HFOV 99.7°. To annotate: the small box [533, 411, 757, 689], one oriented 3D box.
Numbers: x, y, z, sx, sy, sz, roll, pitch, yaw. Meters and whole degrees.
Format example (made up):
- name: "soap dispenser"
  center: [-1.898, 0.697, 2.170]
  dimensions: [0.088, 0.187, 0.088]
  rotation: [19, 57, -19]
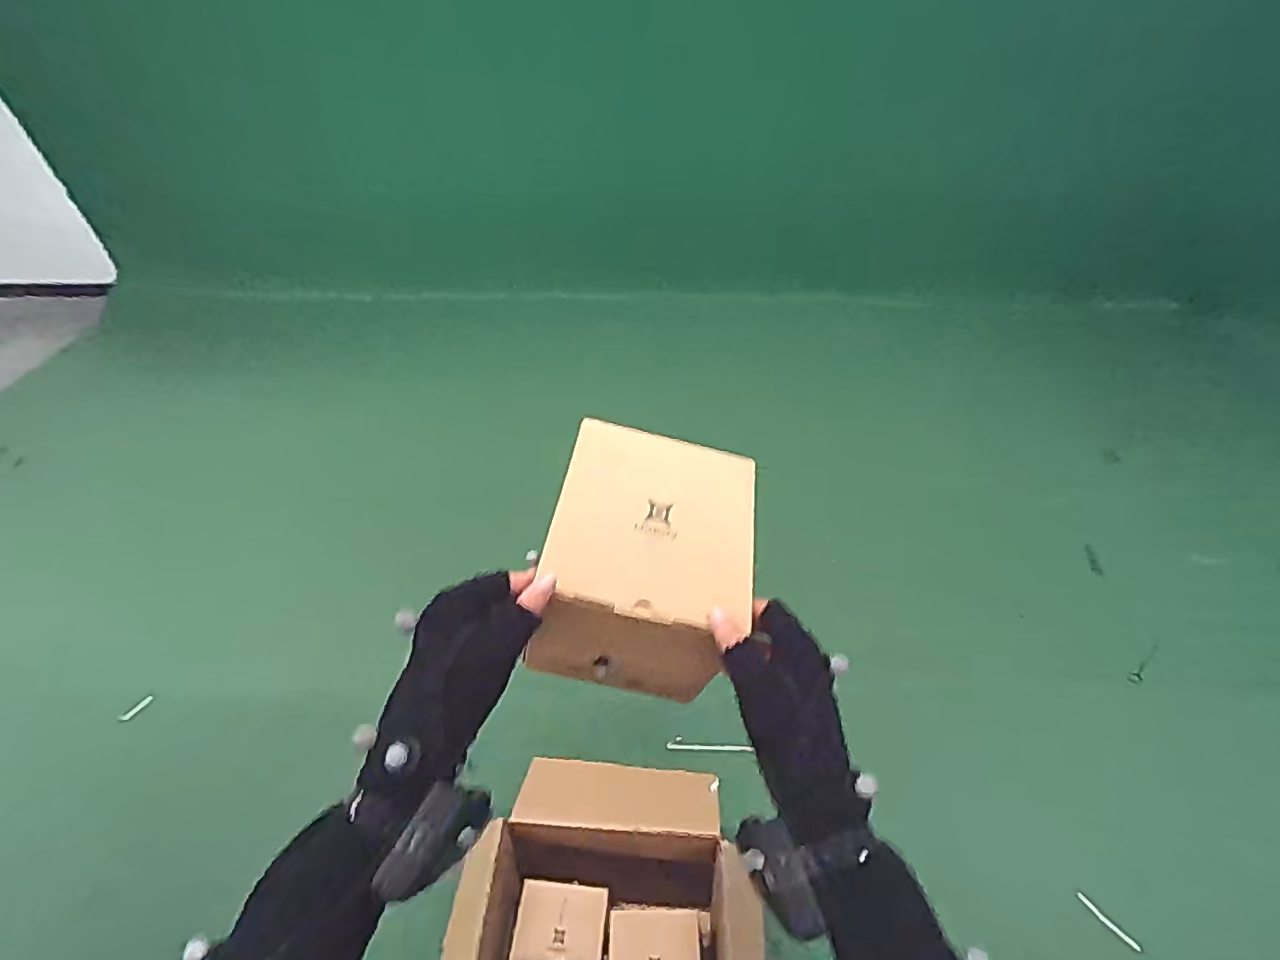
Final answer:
- name: "small box"
  center: [0.000, 0.070, 0.505]
  dimensions: [0.168, 0.176, 0.179]
  rotation: [13, 51, -4]
